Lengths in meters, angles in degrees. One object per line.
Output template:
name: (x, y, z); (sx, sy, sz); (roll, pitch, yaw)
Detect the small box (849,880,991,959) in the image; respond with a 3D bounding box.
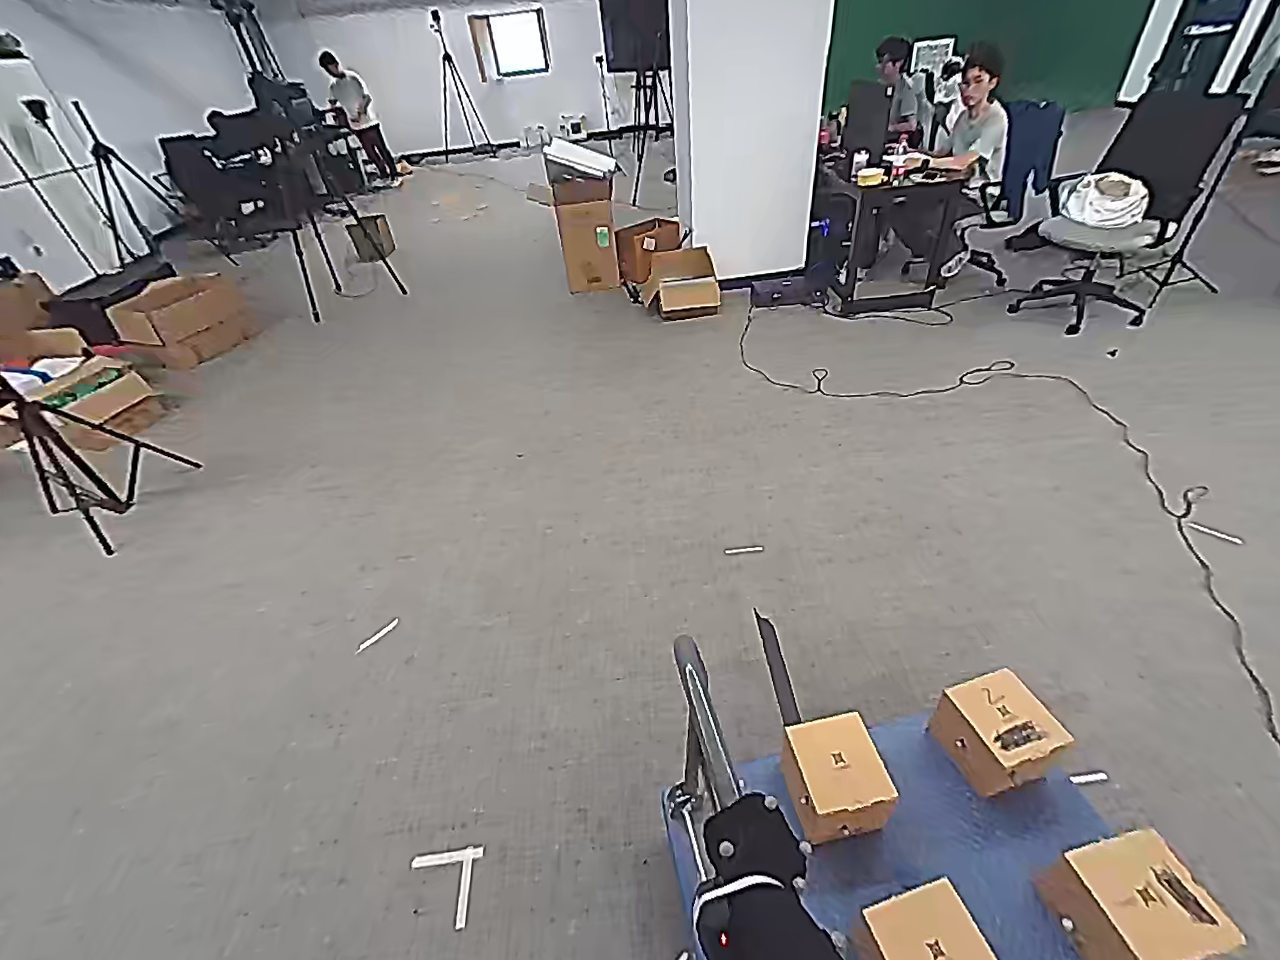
small box: (0.474, 0.820, 0.908); (0.168, 0.176, 0.179); (-13, 40, -7)

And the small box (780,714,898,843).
small box: (0.407, 0.631, 1.144); (0.168, 0.176, 0.179); (-9, 42, -4)

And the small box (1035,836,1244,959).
small box: (0.840, 0.752, 0.935); (0.179, 0.176, 0.168); (-12, 40, -4)
